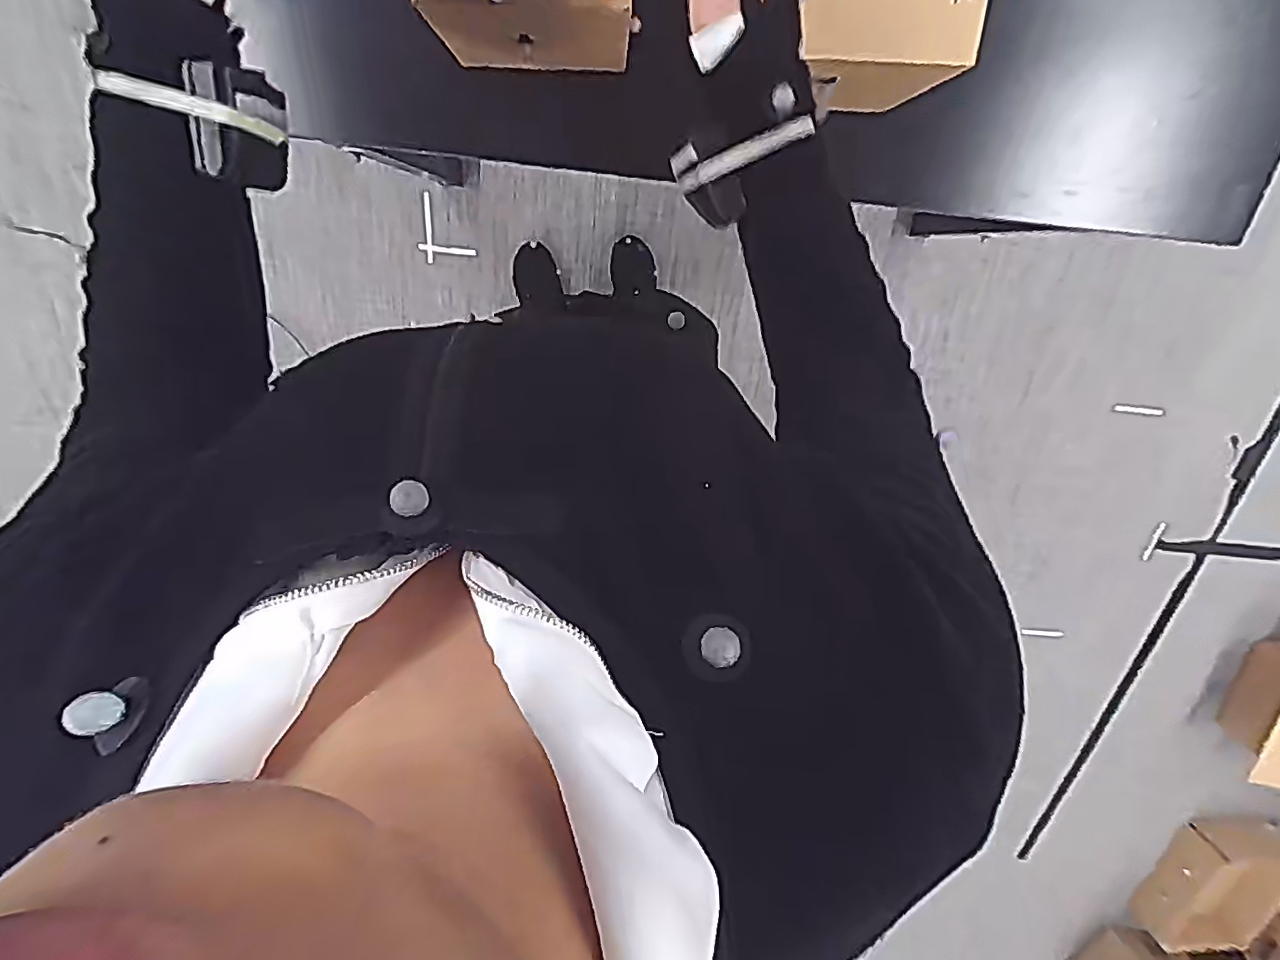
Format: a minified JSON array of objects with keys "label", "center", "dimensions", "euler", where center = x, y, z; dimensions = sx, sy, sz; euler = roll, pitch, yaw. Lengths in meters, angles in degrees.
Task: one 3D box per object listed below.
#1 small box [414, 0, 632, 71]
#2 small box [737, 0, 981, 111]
[{"label":"small box","center":[-0.096,-0.486,0.476],"dimensions":[0.179,0.176,0.168],"euler":[0,113,-2]},{"label":"small box","center":[0.195,-0.462,0.504],"dimensions":[0.179,0.176,0.168],"euler":[0,113,-3]}]
